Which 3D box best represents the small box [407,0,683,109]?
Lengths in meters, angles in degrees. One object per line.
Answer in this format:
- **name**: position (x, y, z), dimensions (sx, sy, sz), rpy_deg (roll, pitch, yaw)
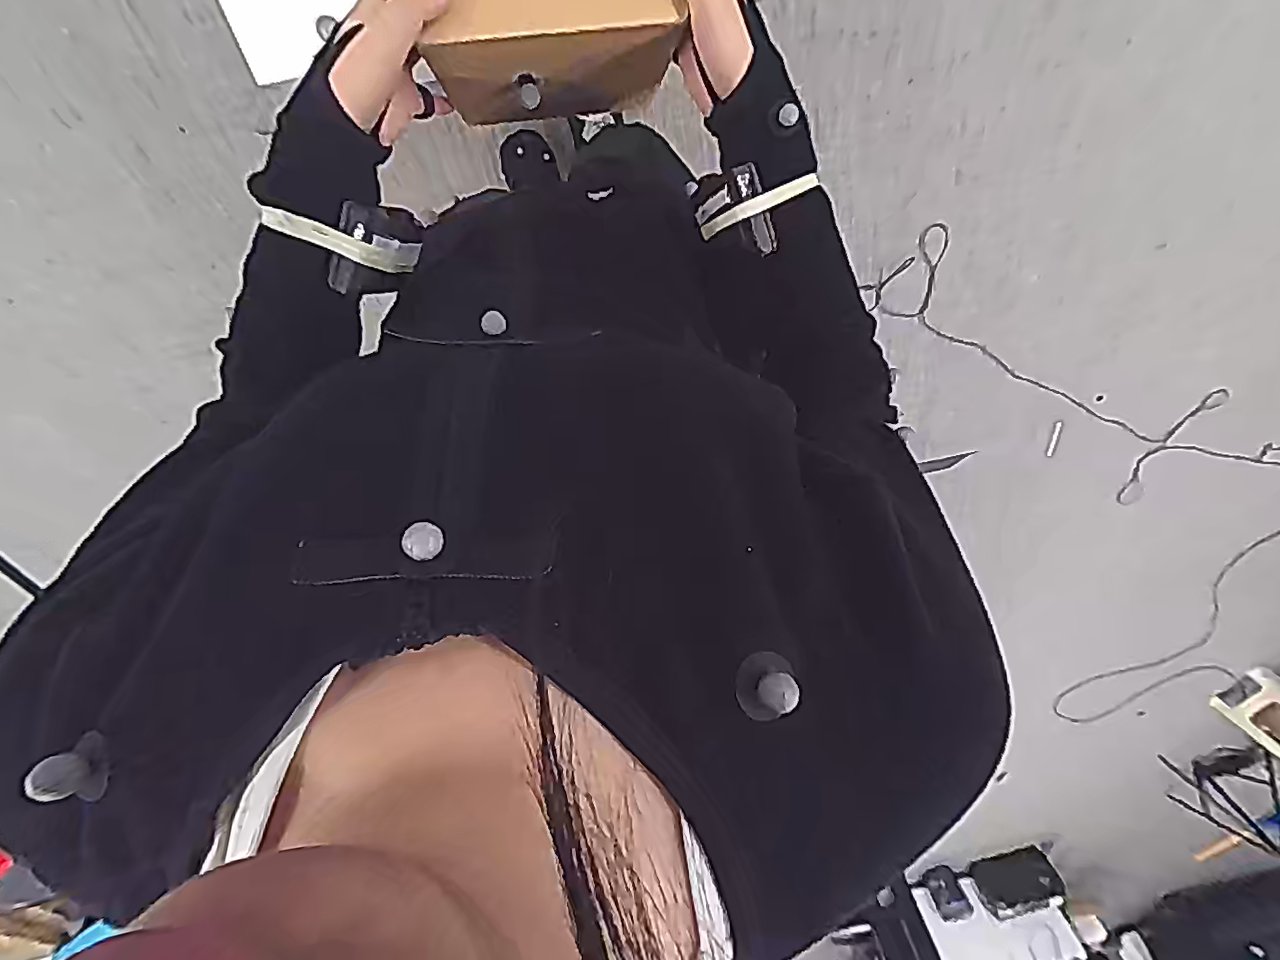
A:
- **small box**: position (-0.069, -0.377, 0.367), dimensions (0.168, 0.176, 0.179), rpy_deg (-9, 110, -4)
